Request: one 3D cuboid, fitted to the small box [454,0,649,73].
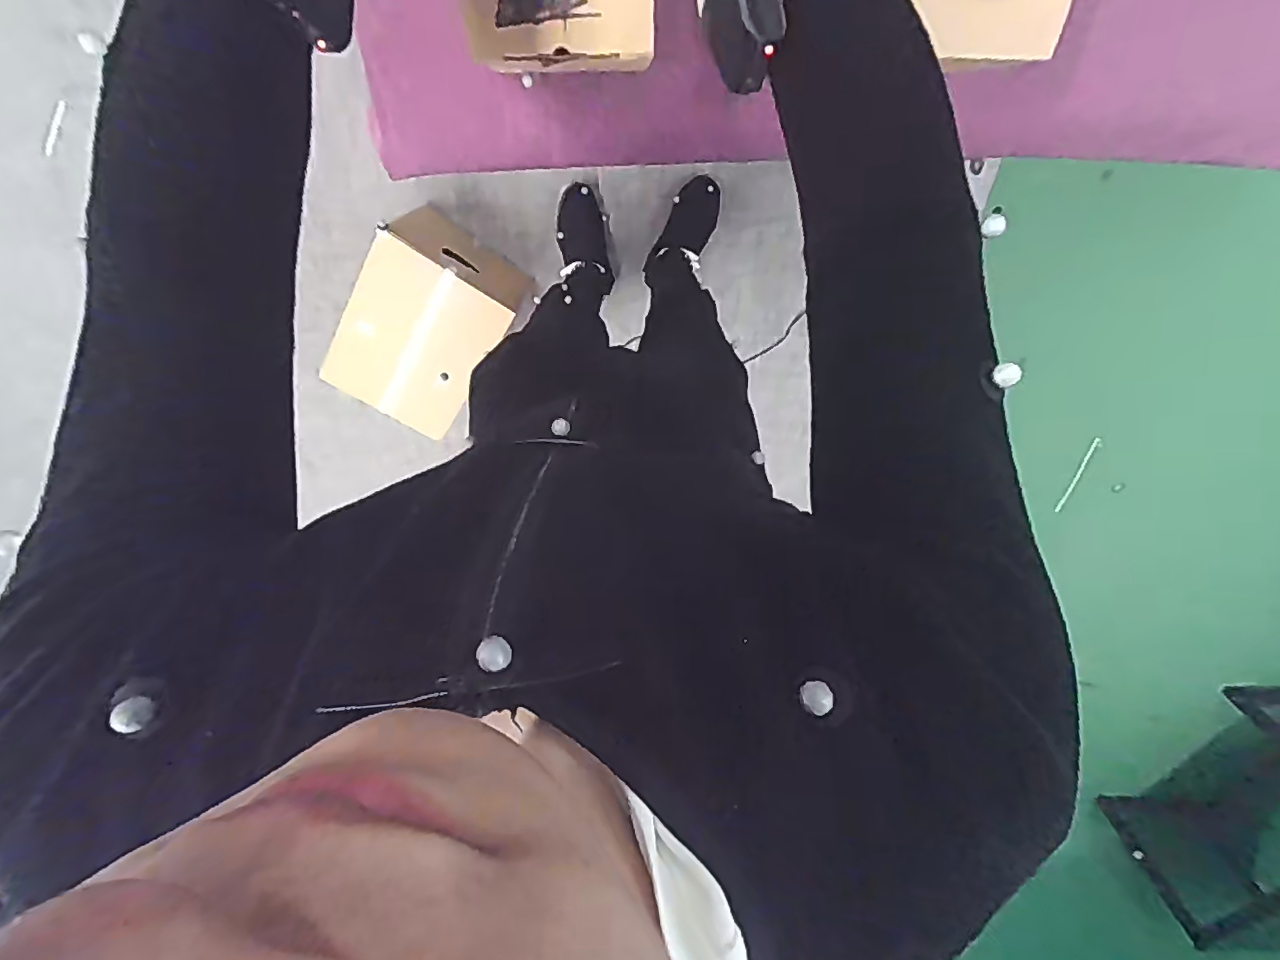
[{"bbox_3d":[-0.075,-0.481,0.490,0.168,0.176,0.179,-2,124,-1],"label":"small box"}]
